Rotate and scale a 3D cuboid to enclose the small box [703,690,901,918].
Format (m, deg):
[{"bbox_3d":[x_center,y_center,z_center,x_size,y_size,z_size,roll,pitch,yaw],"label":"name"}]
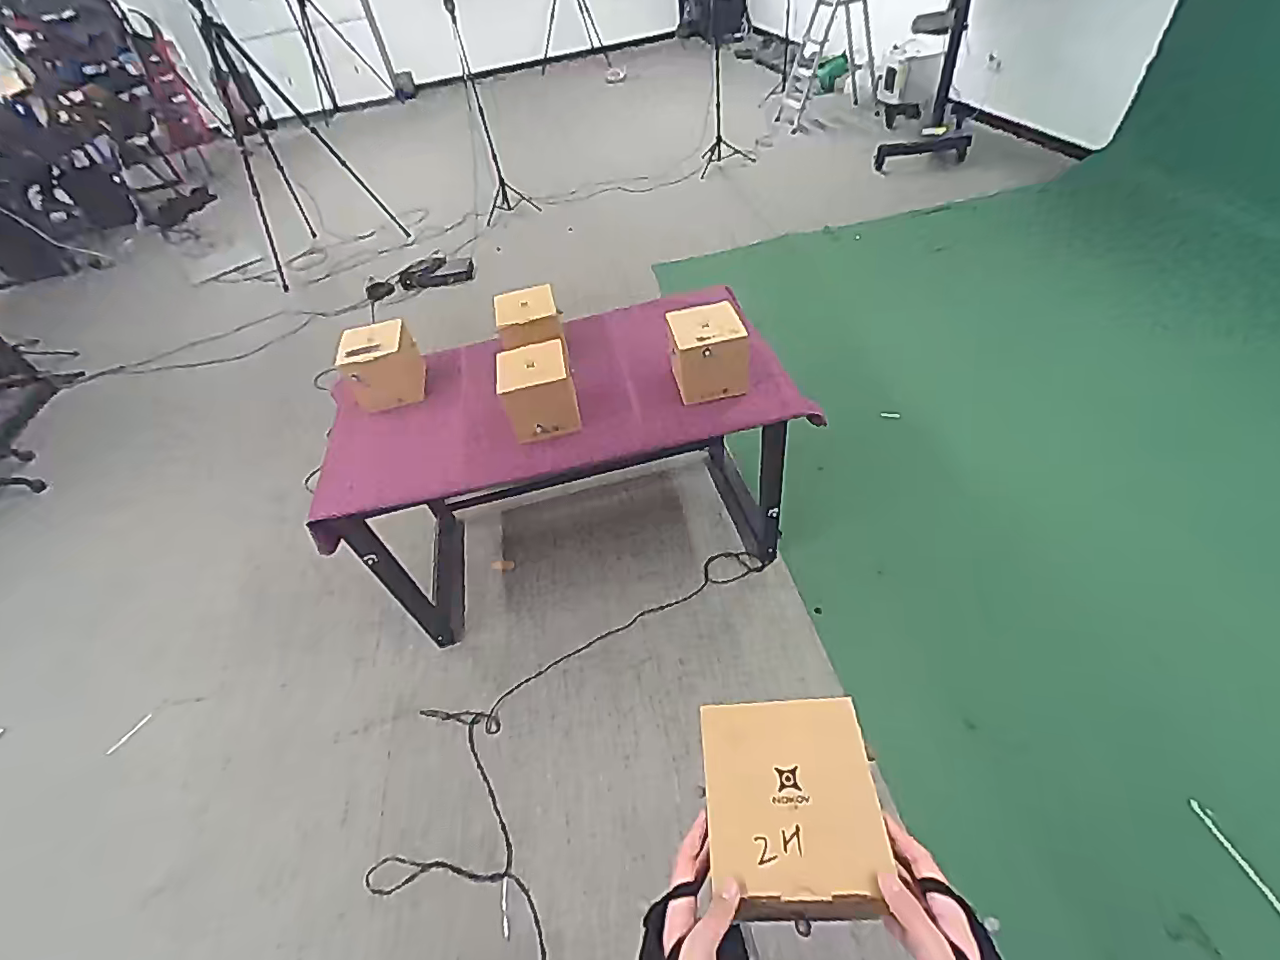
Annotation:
[{"bbox_3d":[0.159,0.349,0.585,0.168,0.176,0.179,-6,45,8],"label":"small box"}]

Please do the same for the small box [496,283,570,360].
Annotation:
[{"bbox_3d":[-0.303,-0.432,1.539,0.168,0.176,0.179,-14,48,-4],"label":"small box"}]

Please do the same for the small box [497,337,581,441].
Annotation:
[{"bbox_3d":[-0.247,-0.223,1.335,0.168,0.176,0.179,-13,46,-2],"label":"small box"}]

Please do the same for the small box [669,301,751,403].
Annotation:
[{"bbox_3d":[0.172,-0.318,1.350,0.168,0.176,0.179,-12,44,0],"label":"small box"}]
